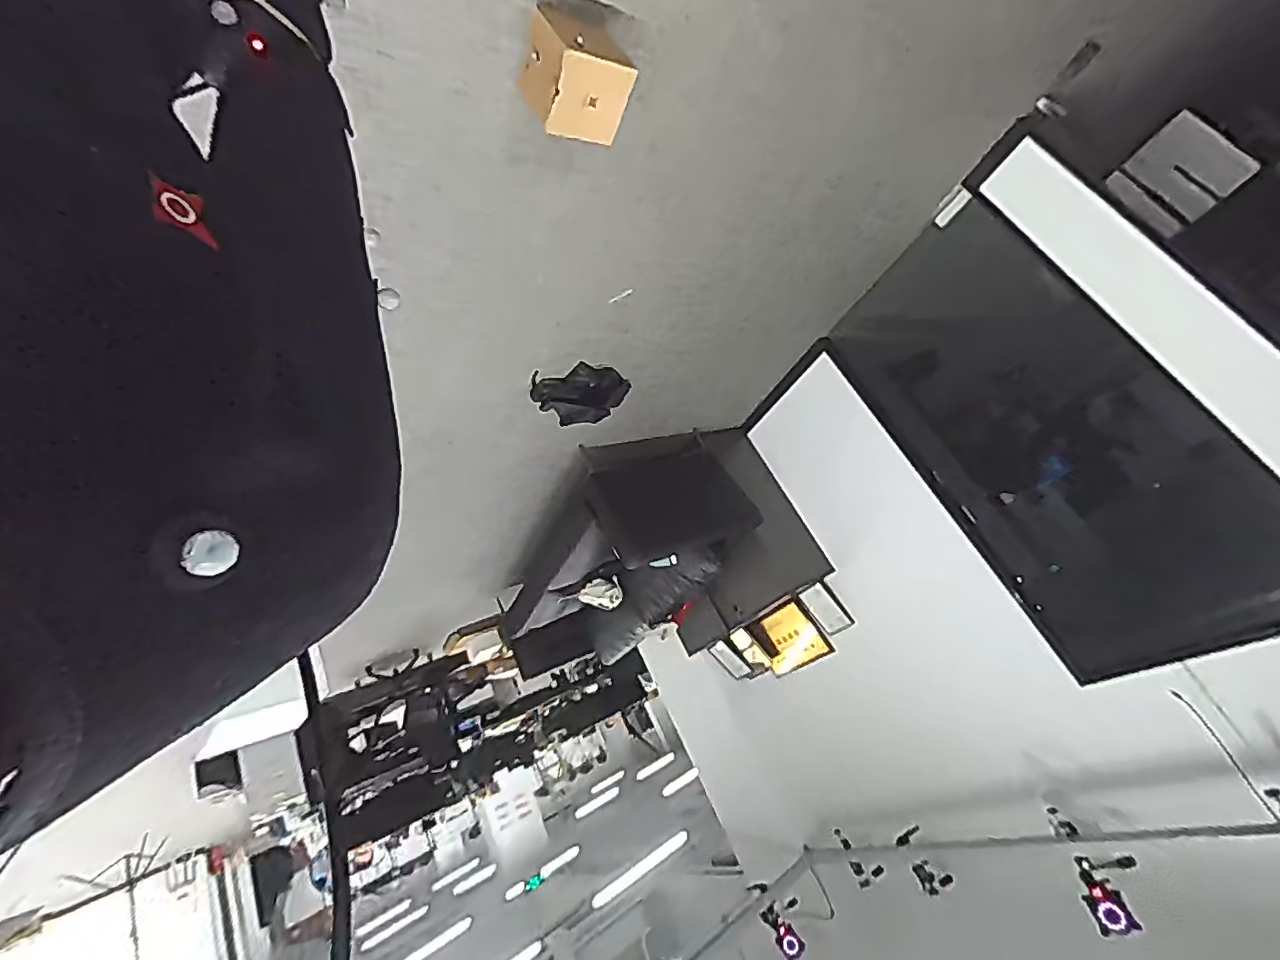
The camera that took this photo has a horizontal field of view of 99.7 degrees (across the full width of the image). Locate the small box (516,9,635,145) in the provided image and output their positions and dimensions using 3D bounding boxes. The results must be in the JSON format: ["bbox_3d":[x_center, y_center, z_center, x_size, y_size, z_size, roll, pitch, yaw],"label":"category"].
[{"bbox_3d":[-0.145,-0.874,1.178,0.179,0.176,0.168,-13,155,-34],"label":"small box"}]
